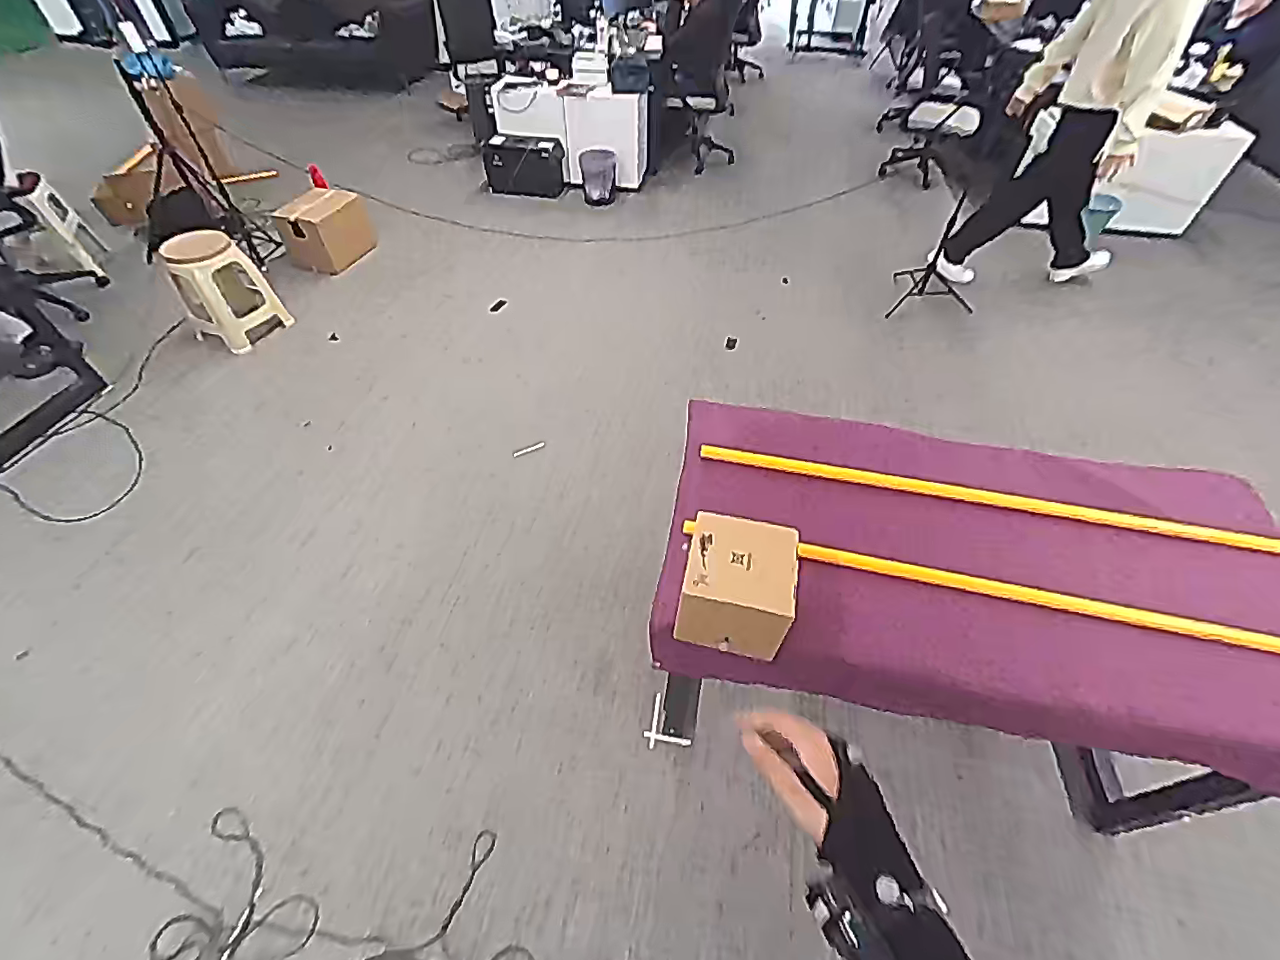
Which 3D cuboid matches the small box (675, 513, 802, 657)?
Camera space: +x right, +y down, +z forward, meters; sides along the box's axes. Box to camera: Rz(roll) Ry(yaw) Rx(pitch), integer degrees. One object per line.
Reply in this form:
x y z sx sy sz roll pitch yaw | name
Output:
0.166 0.185 0.929 0.179 0.176 0.168 12 50 7 | small box
